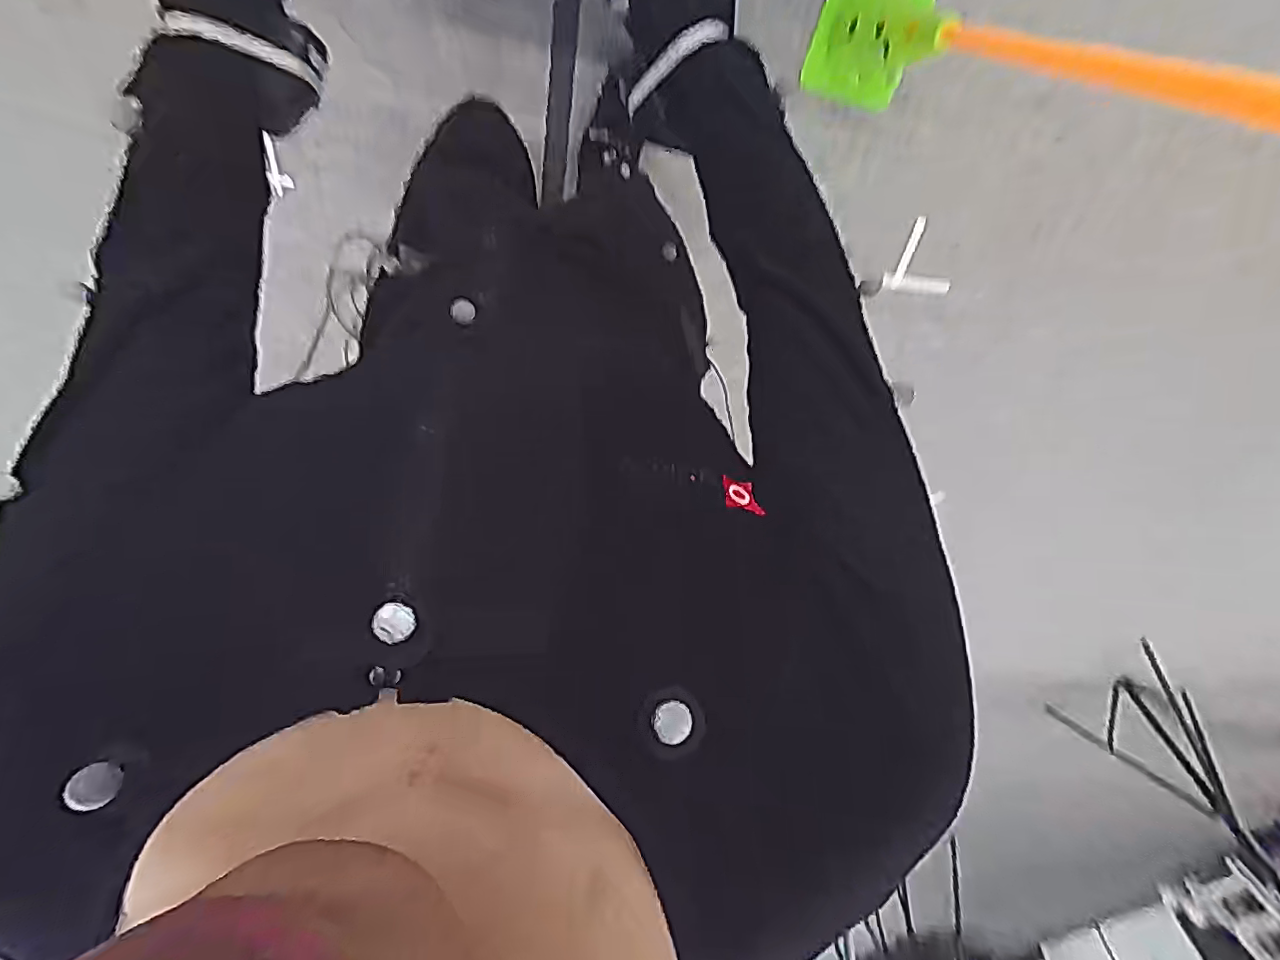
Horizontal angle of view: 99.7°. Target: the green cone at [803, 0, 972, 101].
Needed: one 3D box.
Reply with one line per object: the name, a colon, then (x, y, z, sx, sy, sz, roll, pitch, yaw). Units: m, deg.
green cone: (0.443, -0.757, 0.907, 0.202, 0.368, 0.200, 9, 129, -10)
